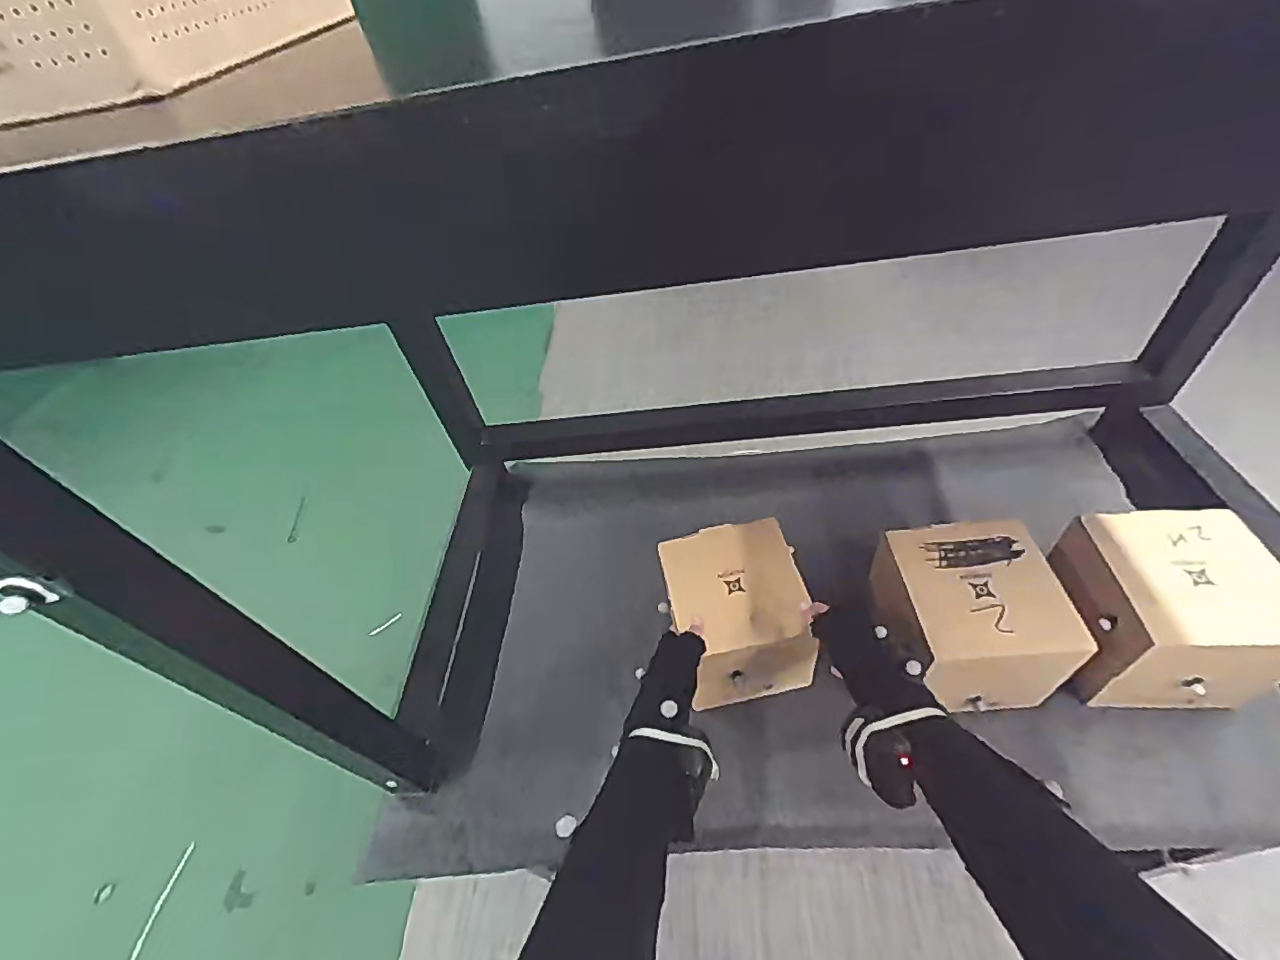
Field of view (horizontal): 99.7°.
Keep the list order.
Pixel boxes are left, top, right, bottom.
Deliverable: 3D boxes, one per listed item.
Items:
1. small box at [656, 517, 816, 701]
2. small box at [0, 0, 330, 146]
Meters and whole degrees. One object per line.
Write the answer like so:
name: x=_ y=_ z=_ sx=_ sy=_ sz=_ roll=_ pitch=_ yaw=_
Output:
small box: x=0.126 y=0.182 z=0.738 sx=0.168 sy=0.176 sz=0.179 roll=-13 pitch=46 yaw=0
small box: x=-0.256 y=-0.241 z=0.200 sx=0.168 sy=0.176 sz=0.179 roll=-4 pitch=48 yaw=8
